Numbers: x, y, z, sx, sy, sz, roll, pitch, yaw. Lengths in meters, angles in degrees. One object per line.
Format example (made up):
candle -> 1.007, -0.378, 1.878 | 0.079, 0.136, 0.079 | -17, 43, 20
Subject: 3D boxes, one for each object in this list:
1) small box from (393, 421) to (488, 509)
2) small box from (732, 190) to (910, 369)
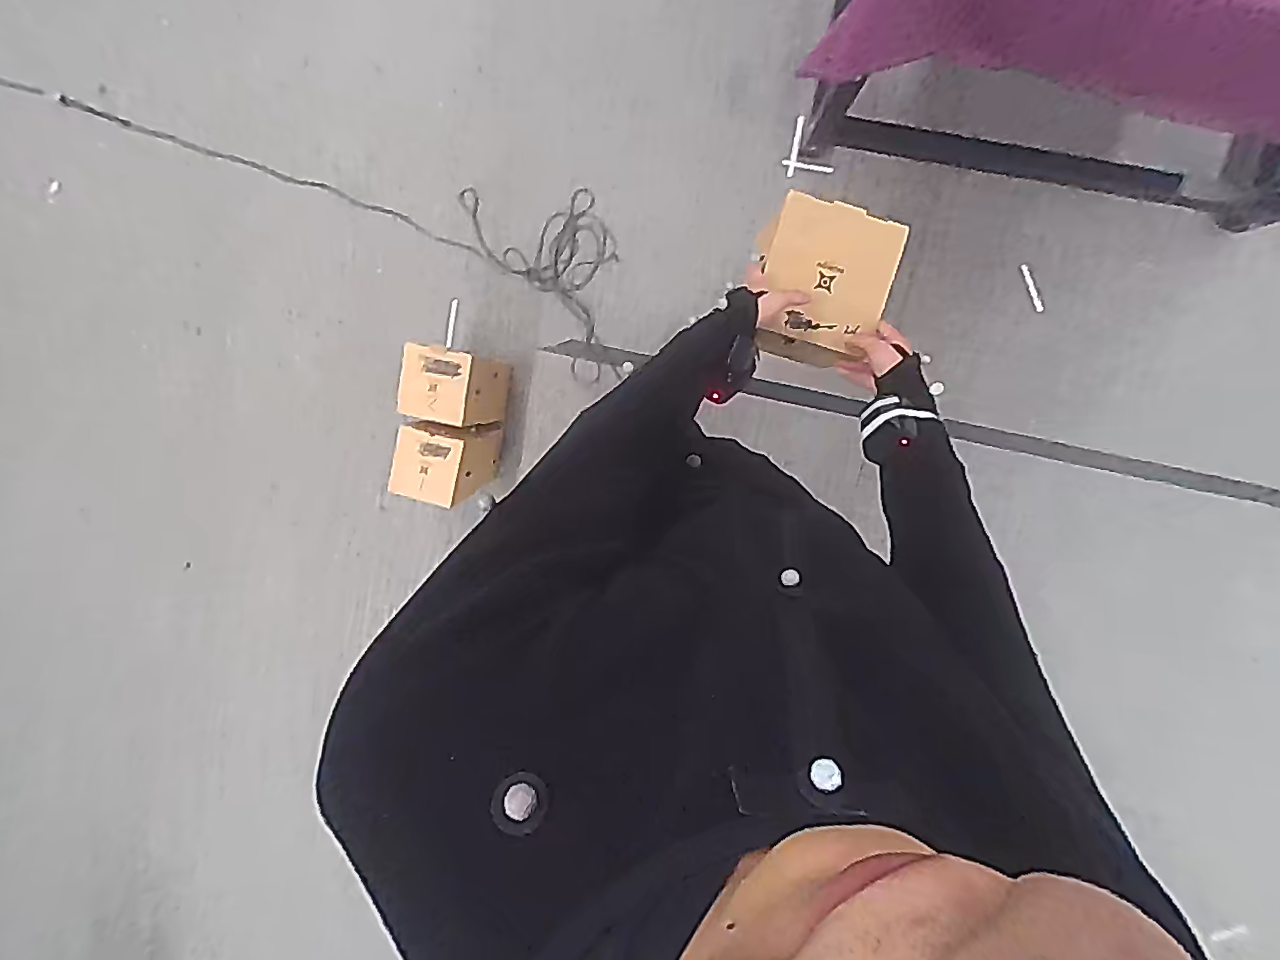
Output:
small box -> -0.512, -0.048, 1.409 | 0.168, 0.176, 0.179 | 16, 103, 2
small box -> 0.239, -0.268, 0.766 | 0.168, 0.176, 0.179 | 17, 97, -2
